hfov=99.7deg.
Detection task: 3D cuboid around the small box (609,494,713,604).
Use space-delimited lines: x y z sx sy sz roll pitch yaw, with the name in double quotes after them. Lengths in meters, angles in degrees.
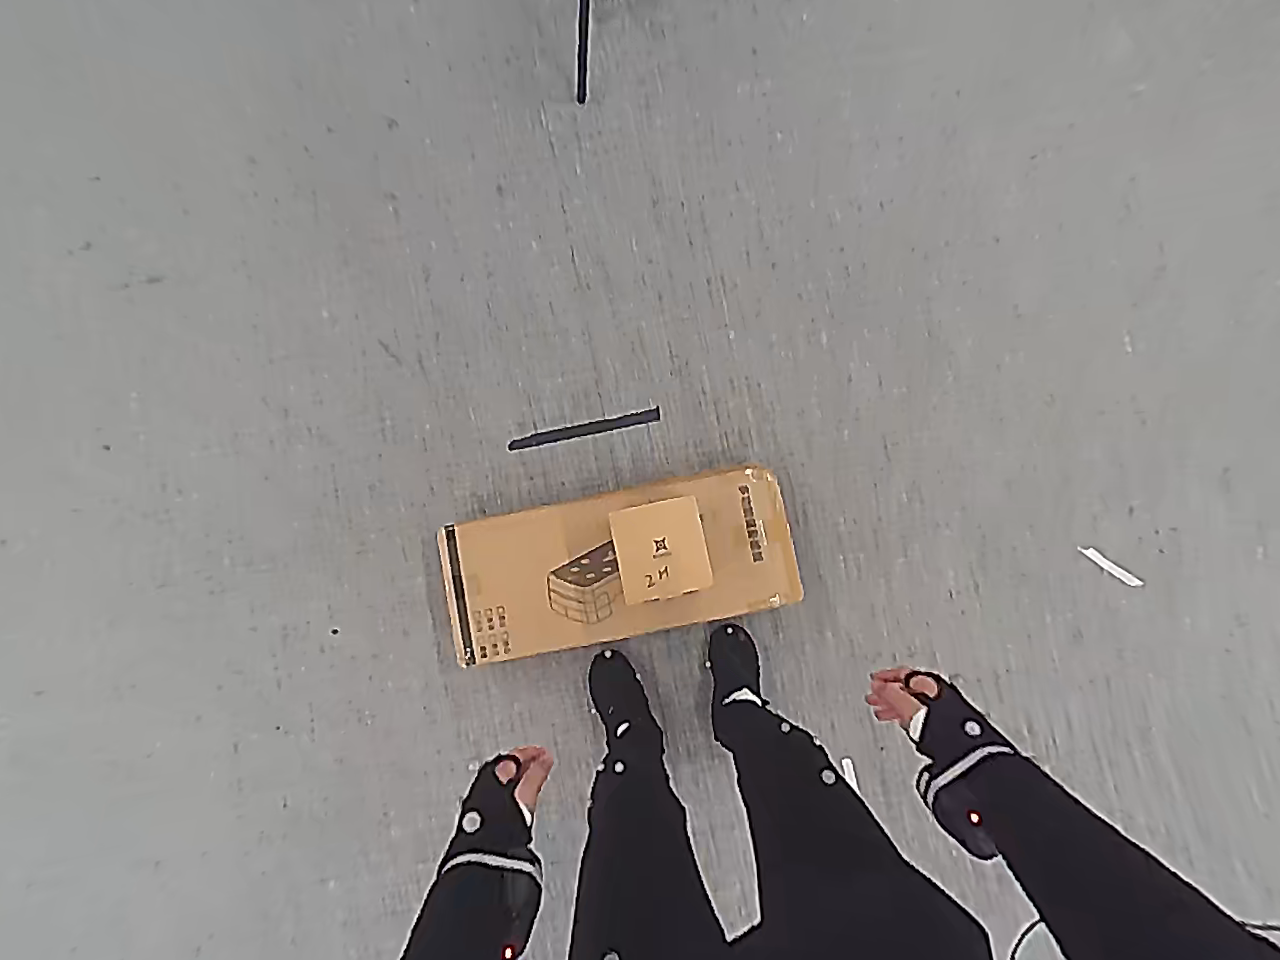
0.036 0.134 1.060 0.168 0.176 0.179 -12 85 -1 "small box"
